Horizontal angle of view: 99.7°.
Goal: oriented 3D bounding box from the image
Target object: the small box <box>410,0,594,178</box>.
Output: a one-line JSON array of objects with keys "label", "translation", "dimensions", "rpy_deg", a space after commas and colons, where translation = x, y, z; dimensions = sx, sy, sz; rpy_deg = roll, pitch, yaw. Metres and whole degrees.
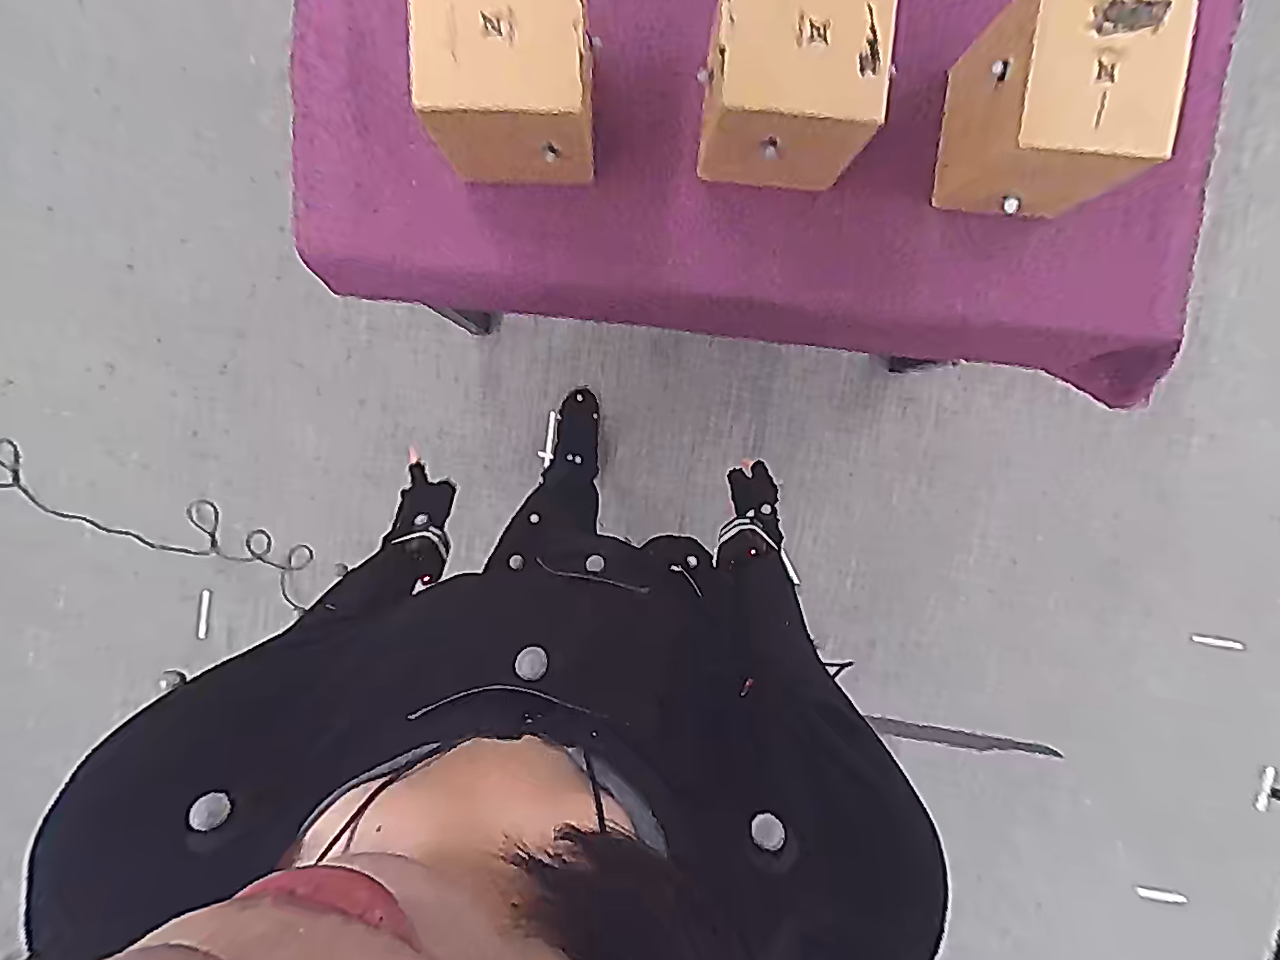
[{"label": "small box", "translation": [-0.144, -0.471, 0.622], "dimensions": [0.179, 0.176, 0.168], "rpy_deg": [0, 94, 0]}]

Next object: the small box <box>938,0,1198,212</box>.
[{"label": "small box", "translation": [0.481, -0.444, 0.636], "dimensions": [0.168, 0.176, 0.179], "rpy_deg": [5, 96, -1]}]

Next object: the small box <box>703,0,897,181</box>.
[{"label": "small box", "translation": [0.172, -0.472, 0.628], "dimensions": [0.179, 0.176, 0.168], "rpy_deg": [5, 95, -1]}]
